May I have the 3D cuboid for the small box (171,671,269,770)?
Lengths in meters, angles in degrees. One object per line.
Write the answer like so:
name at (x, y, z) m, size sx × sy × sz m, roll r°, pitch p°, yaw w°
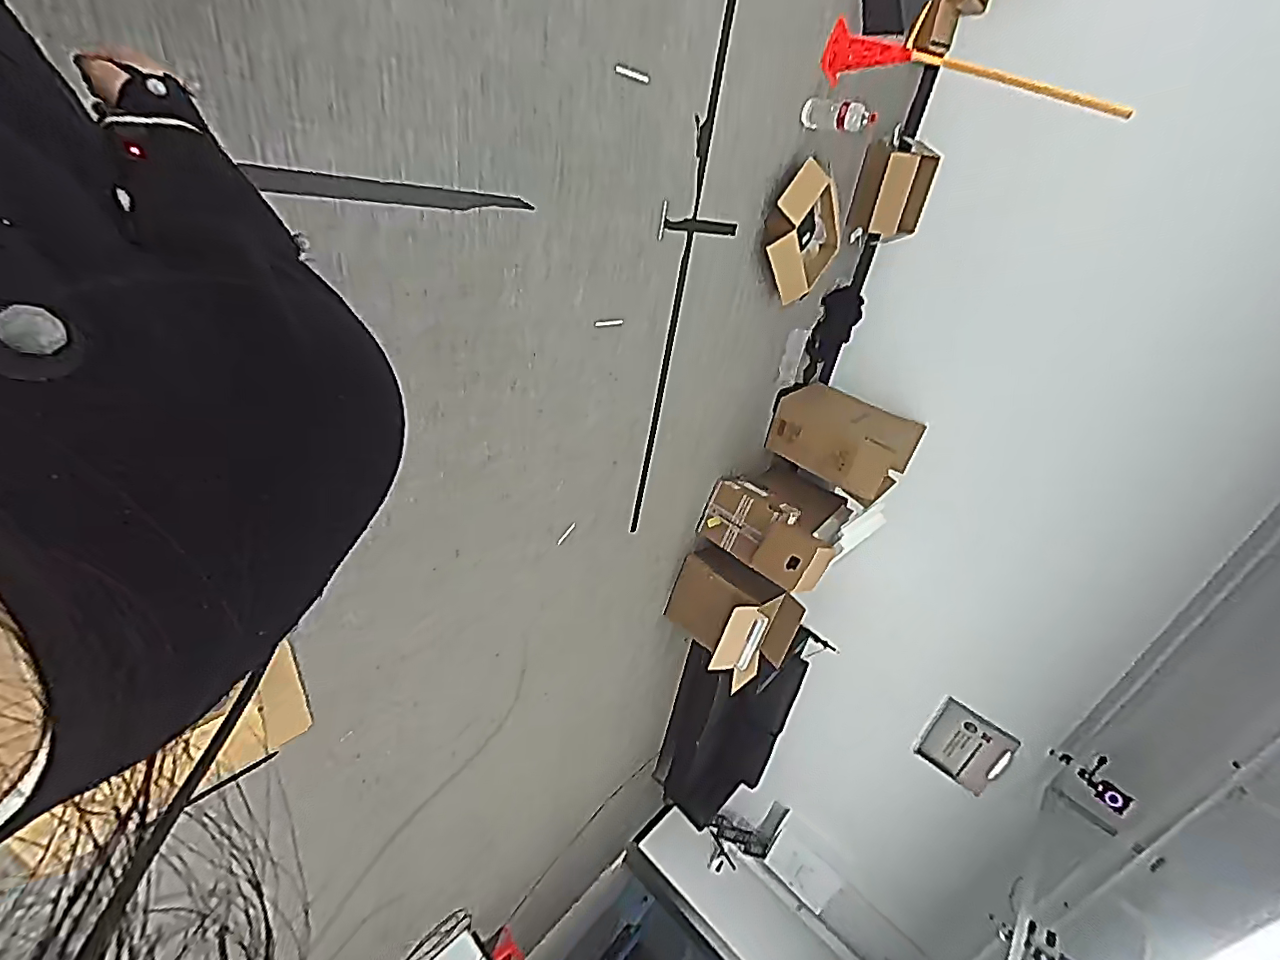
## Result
small box at (-1.225, 0.688, 1.576) m, size 0.168 × 0.176 × 0.179 m, roll -26°, pitch 136°, yaw -41°
